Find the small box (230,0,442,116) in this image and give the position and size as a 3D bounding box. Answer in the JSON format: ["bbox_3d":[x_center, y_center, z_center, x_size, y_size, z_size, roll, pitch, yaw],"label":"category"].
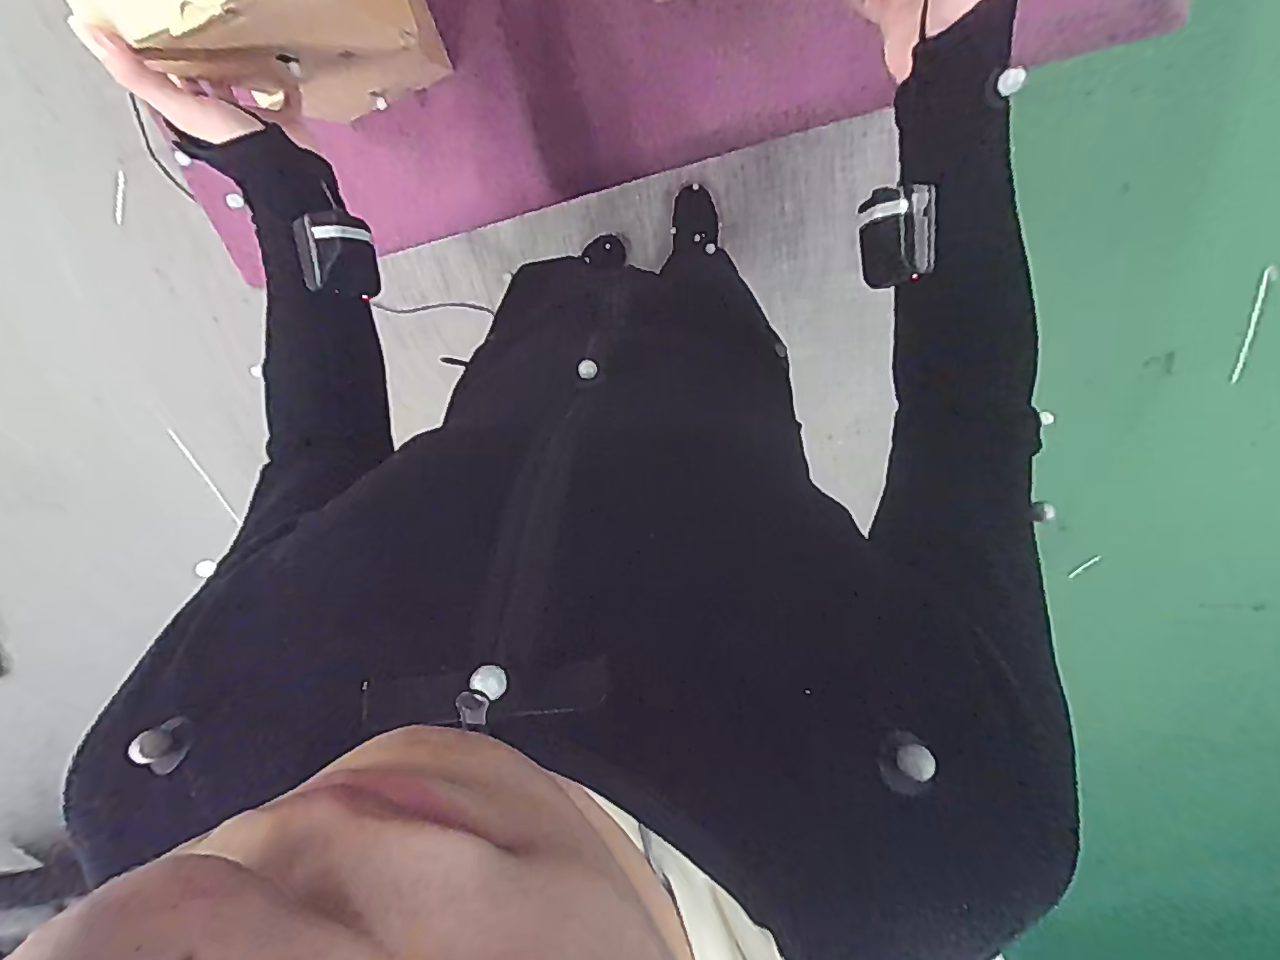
[{"bbox_3d":[-0.341,-0.513,0.563,0.168,0.176,0.179,-15,118,11],"label":"small box"}]

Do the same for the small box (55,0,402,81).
[{"bbox_3d":[-0.307,-0.417,0.379,0.168,0.176,0.179,-10,118,12],"label":"small box"}]
